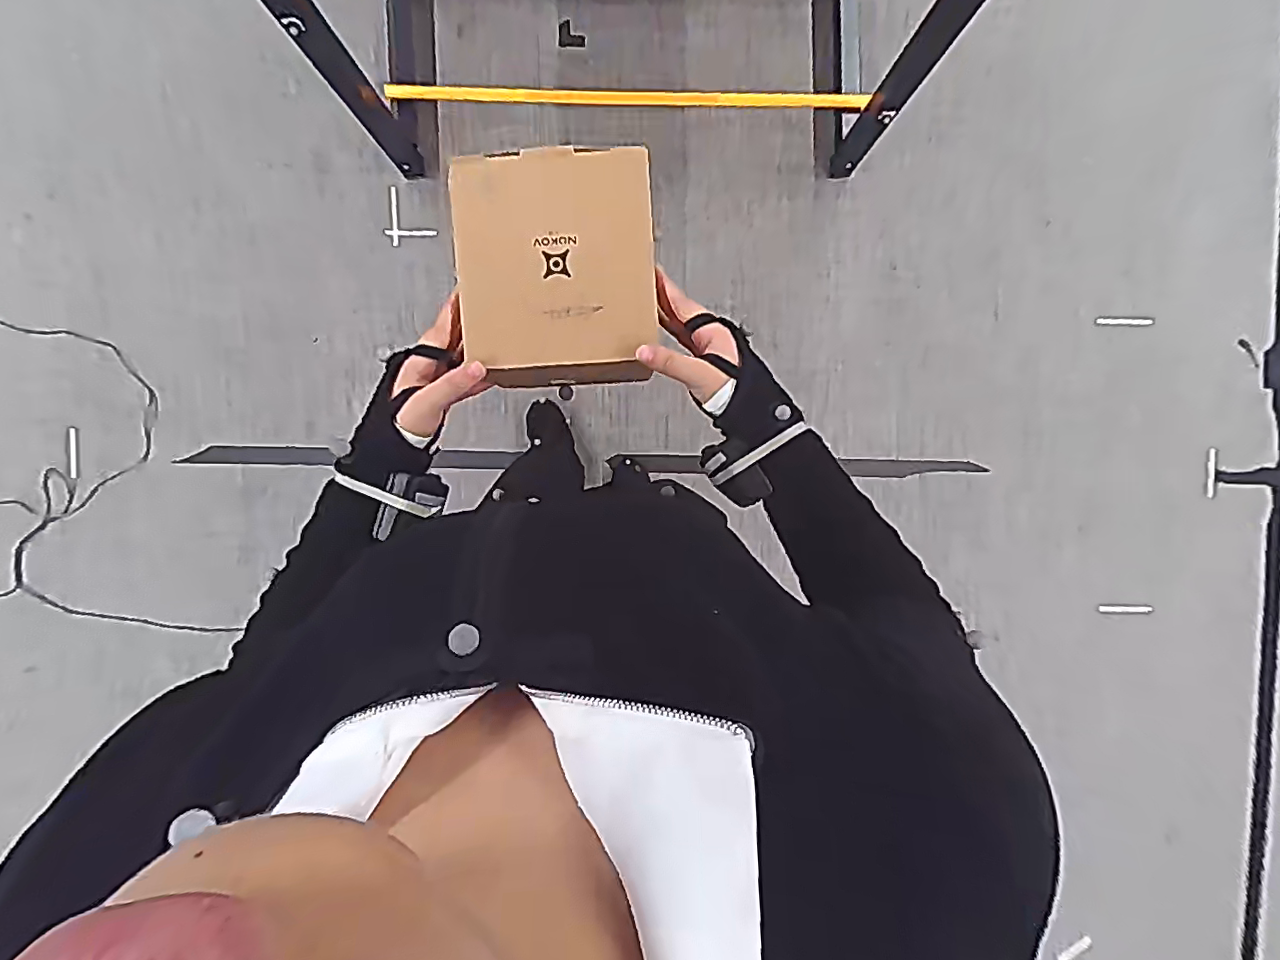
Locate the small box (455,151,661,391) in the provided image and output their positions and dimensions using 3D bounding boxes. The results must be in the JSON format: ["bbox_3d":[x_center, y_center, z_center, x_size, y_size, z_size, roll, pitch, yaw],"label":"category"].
[{"bbox_3d":[-0.071,-0.188,0.530,0.168,0.176,0.179,-4,94,-2],"label":"small box"}]
